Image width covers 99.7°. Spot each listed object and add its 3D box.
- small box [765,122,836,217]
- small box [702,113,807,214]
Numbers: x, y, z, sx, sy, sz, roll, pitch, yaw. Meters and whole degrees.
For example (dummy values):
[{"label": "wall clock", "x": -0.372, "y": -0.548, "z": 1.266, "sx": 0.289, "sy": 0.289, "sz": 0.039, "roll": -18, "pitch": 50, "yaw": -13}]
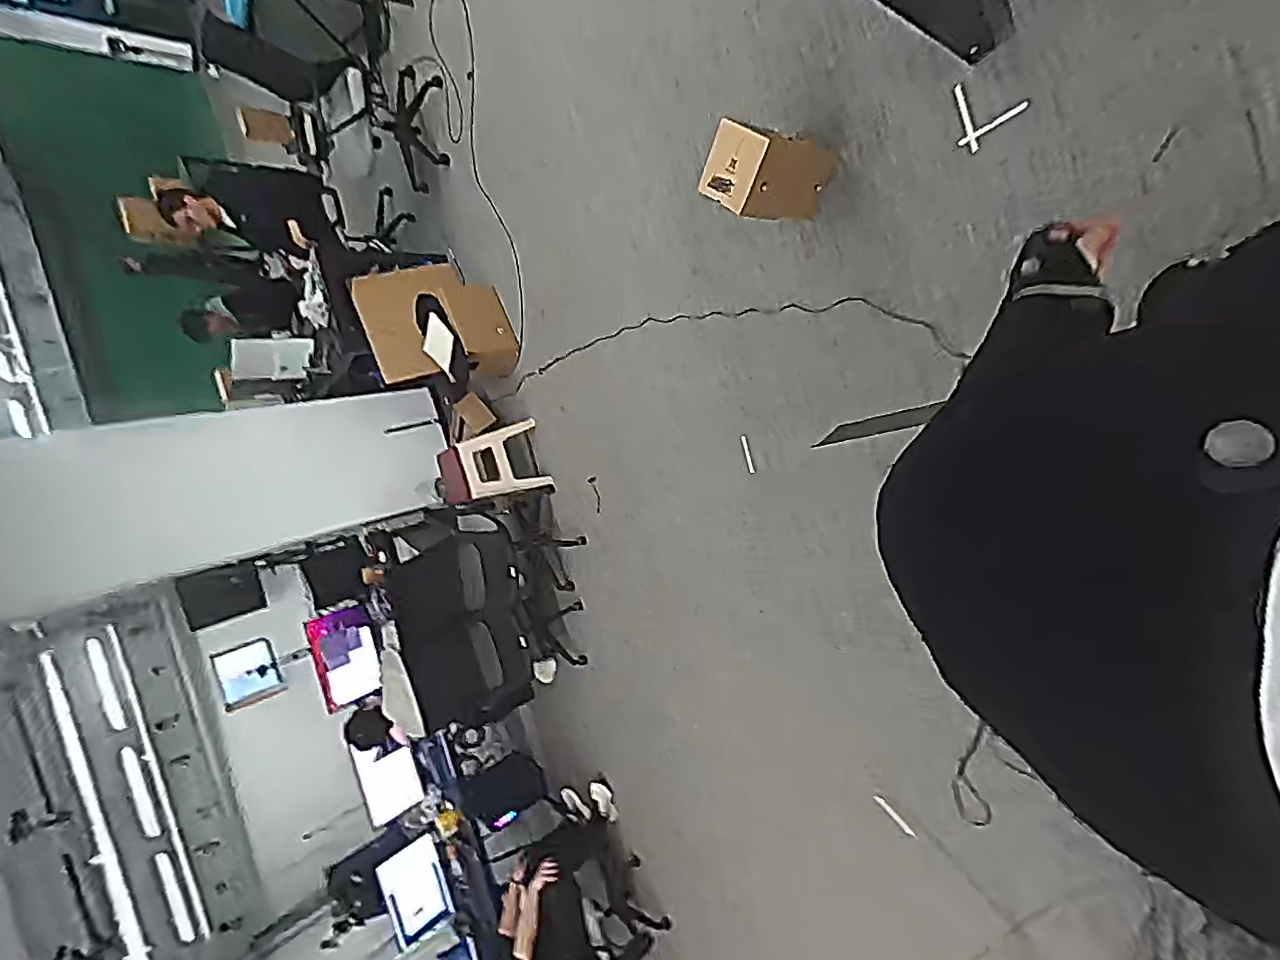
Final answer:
[{"label": "small box", "x": 0.412, "y": -0.853, "z": 1.496, "sx": 0.168, "sy": 0.176, "sz": 0.179, "roll": 46, "pitch": 133, "yaw": 29}, {"label": "small box", "x": 0.295, "y": -0.804, "z": 1.388, "sx": 0.168, "sy": 0.176, "sz": 0.179, "roll": 47, "pitch": 135, "yaw": 28}]
